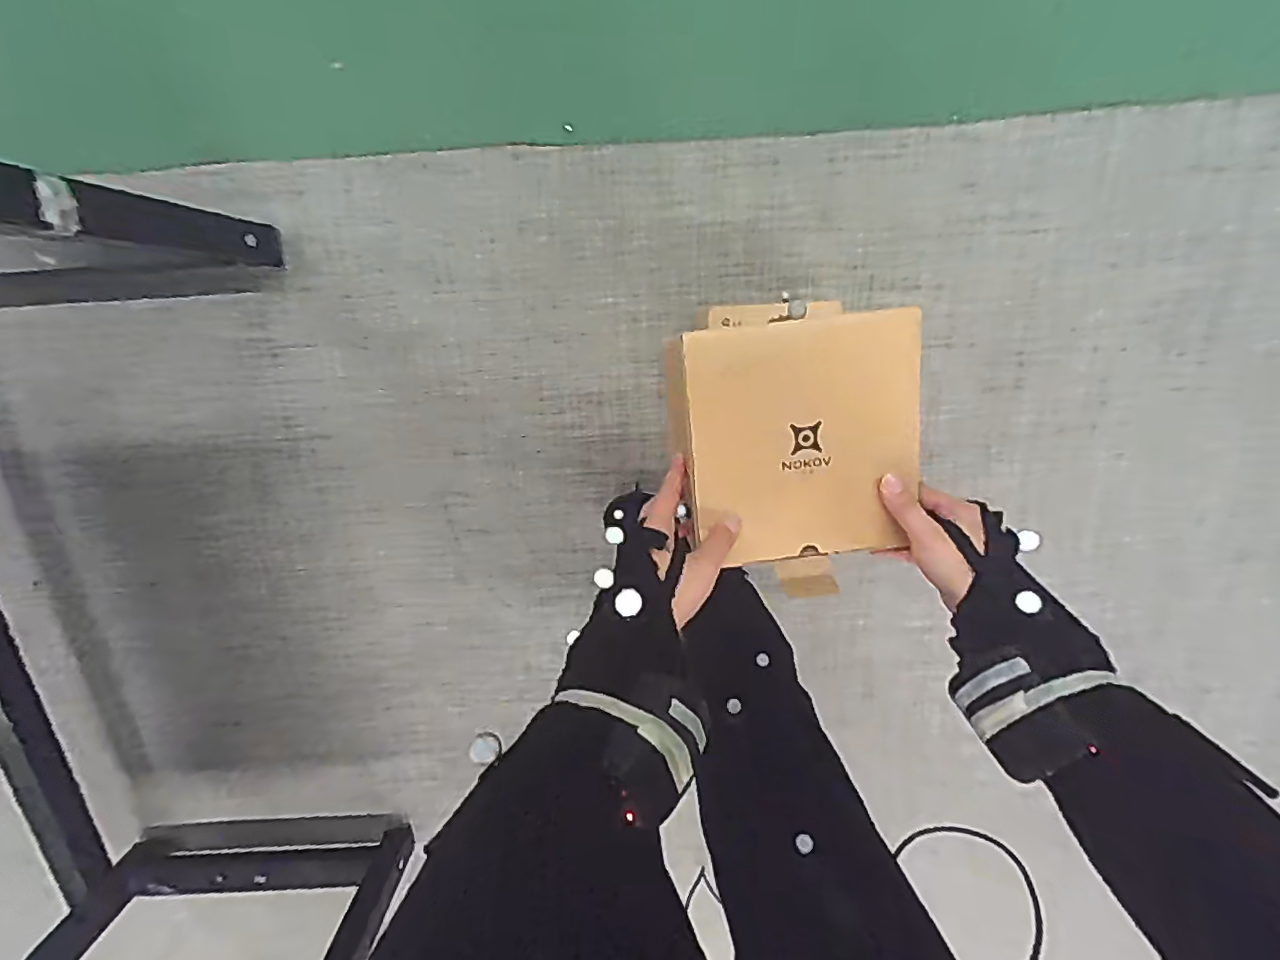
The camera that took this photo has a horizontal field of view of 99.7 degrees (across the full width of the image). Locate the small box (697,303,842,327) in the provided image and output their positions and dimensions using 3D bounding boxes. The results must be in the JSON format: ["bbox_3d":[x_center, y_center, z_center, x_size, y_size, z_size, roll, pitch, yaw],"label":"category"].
[{"bbox_3d":[0.169,-0.153,0.757,0.168,0.176,0.179,-2,107,1],"label":"small box"}]

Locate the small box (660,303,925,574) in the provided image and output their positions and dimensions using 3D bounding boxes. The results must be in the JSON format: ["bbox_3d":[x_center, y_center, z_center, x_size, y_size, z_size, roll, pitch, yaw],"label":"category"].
[{"bbox_3d":[0.111,-0.042,0.452,0.168,0.176,0.179,-7,105,-1],"label":"small box"}]
